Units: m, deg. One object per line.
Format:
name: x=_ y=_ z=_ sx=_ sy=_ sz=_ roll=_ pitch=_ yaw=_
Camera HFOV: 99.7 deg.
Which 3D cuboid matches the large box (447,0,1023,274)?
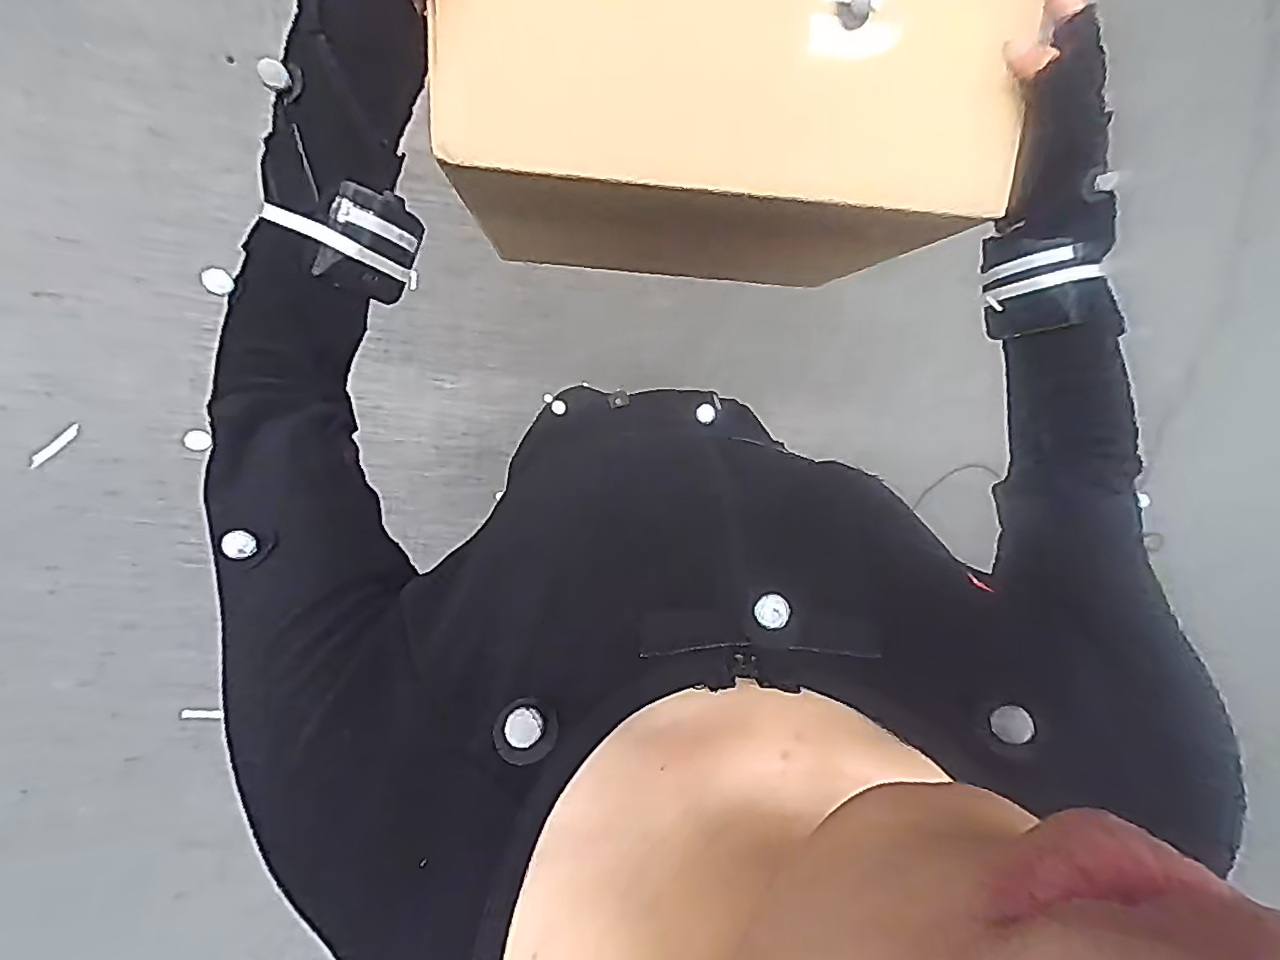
large box: x=0.056 y=-0.388 z=0.501 sx=0.408 sy=0.320 sz=0.320 roll=1 pitch=101 yaw=-7
